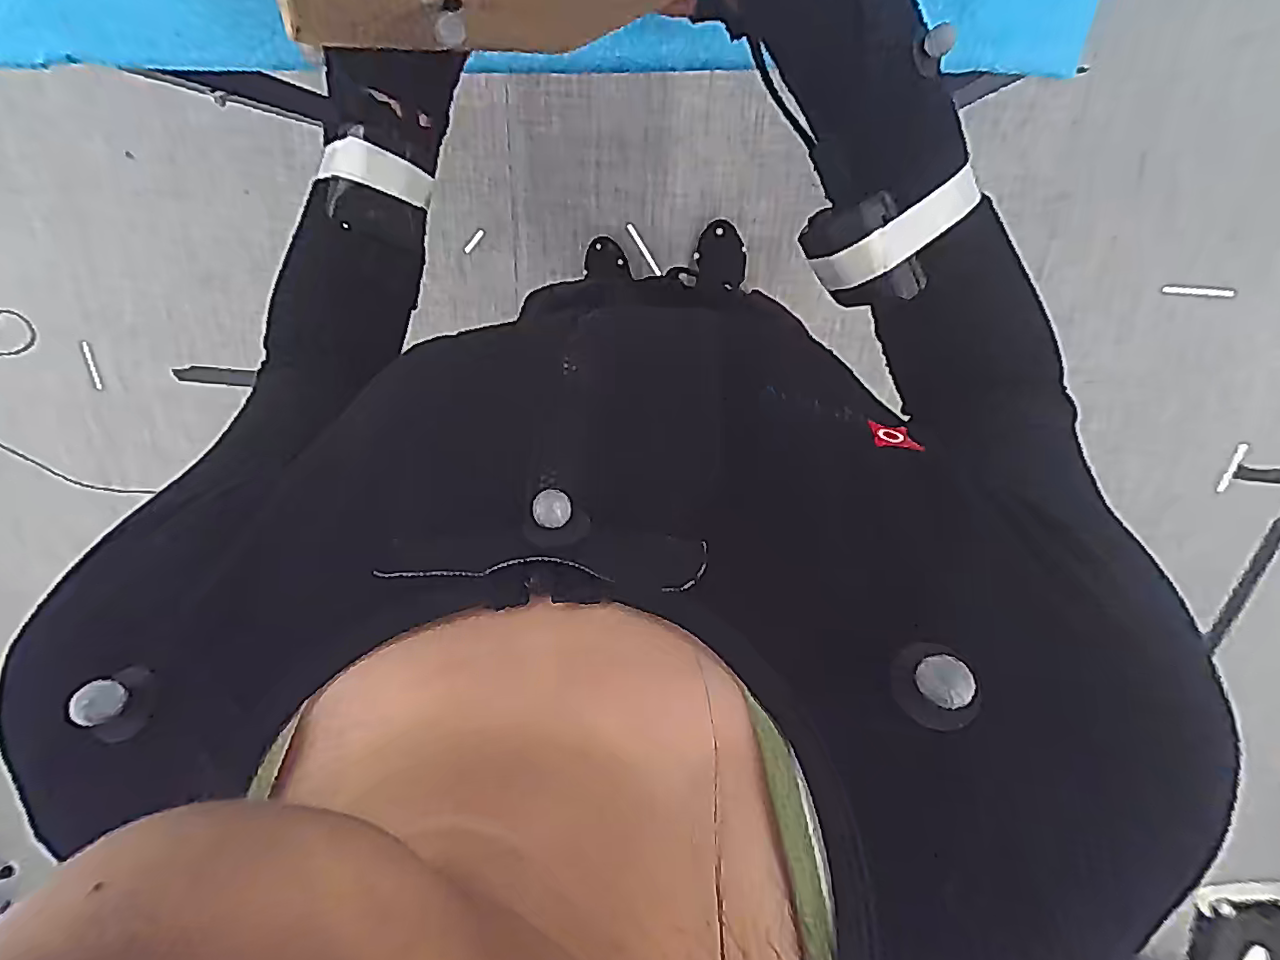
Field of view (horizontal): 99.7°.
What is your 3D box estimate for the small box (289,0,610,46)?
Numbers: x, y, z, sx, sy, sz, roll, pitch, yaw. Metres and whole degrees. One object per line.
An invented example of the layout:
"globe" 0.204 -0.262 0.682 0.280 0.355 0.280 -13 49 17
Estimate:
"small box" -0.093 -0.314 0.241 0.179 0.176 0.168 -19 124 -20
